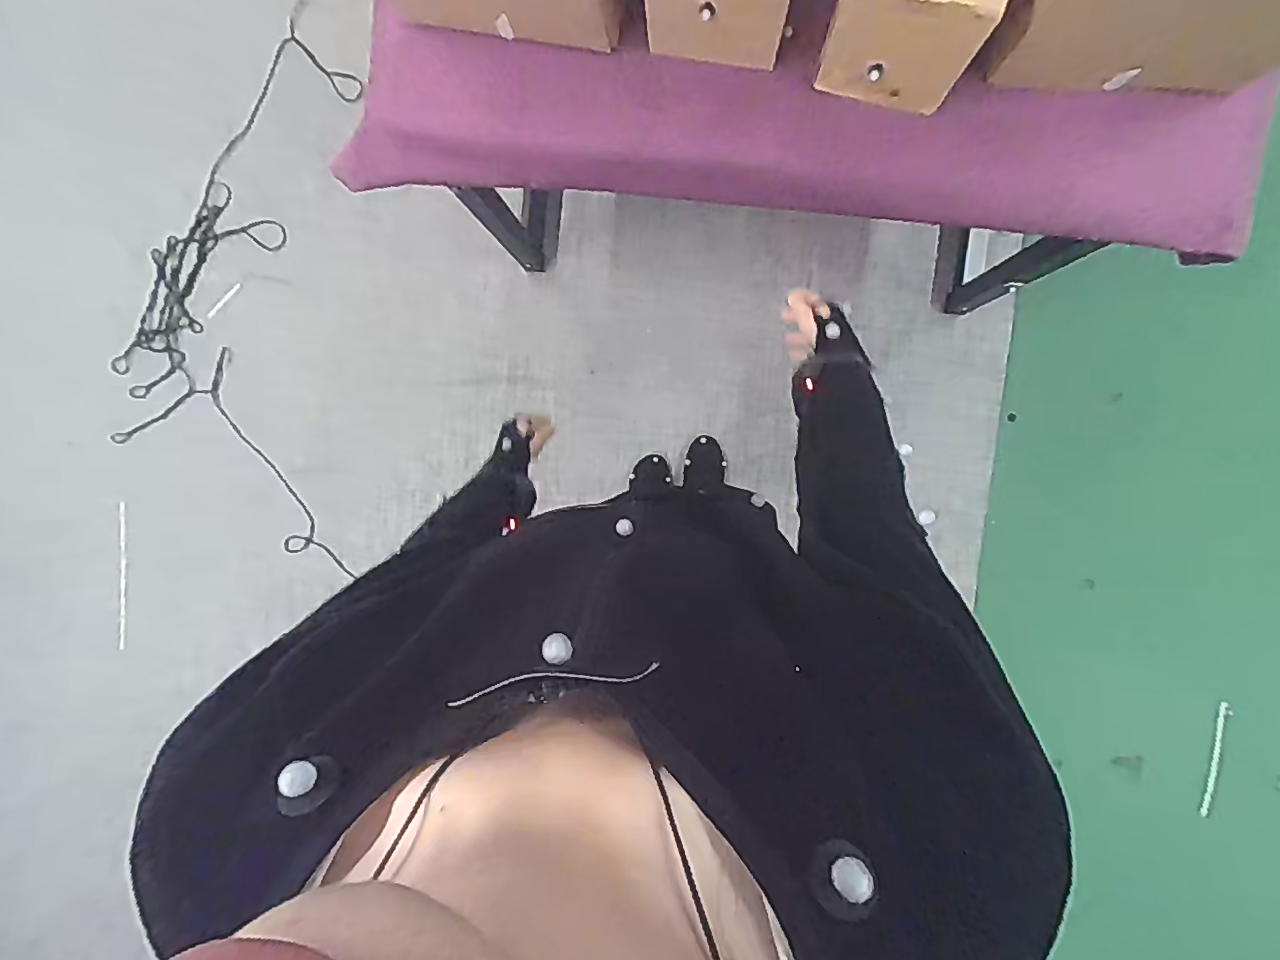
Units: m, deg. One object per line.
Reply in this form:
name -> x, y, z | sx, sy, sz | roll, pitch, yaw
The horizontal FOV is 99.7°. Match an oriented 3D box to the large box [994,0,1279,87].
large box -> 0.614, -0.700, 0.539 | 0.320, 0.320, 0.408 | 6, 95, 7
